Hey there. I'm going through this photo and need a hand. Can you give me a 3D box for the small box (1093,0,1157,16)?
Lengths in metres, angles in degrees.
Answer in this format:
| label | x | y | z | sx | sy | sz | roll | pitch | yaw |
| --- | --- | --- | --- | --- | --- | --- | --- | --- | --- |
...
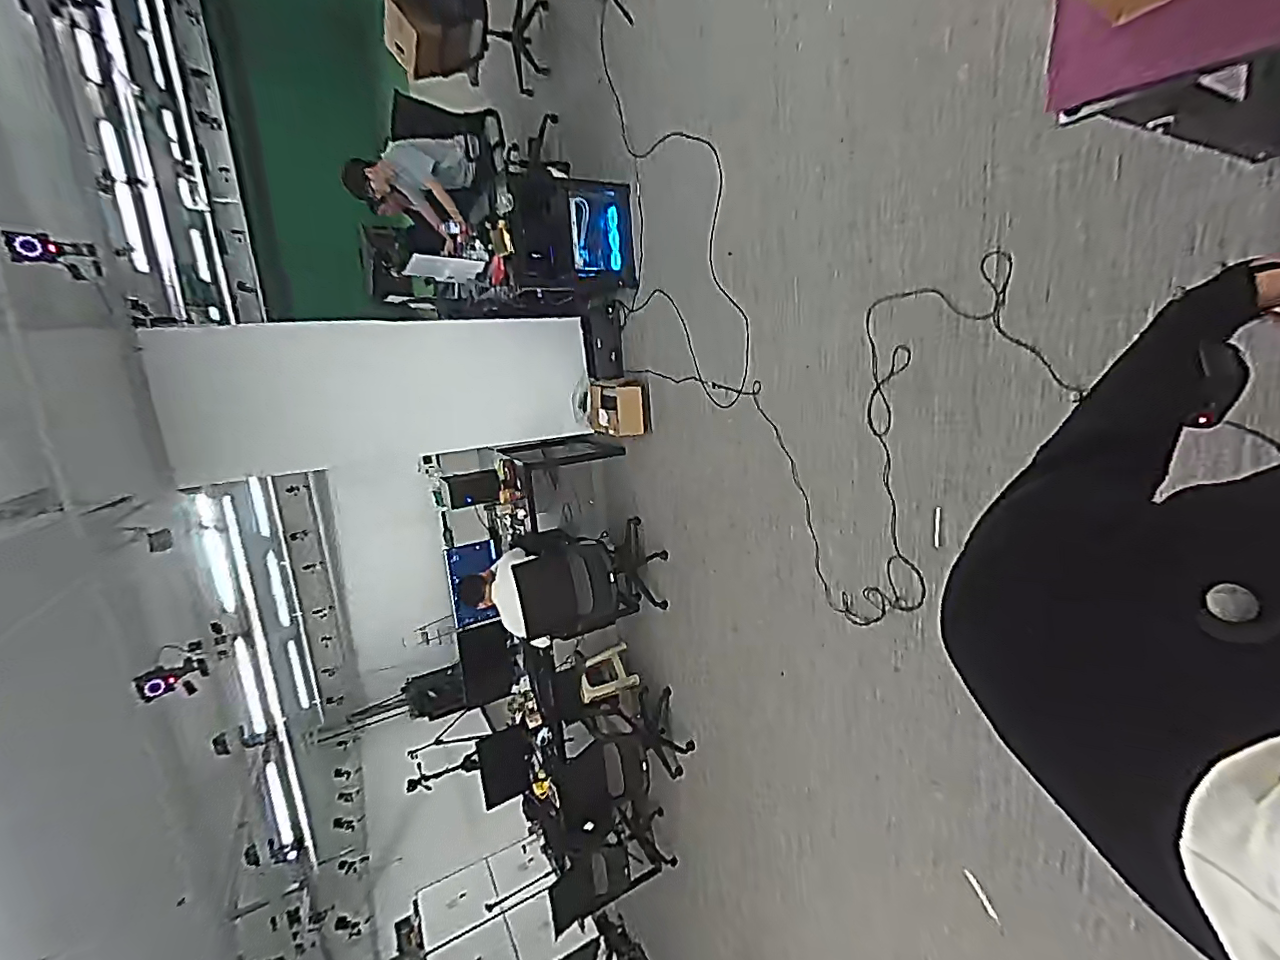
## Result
| label | x | y | z | sx | sy | sz | roll | pitch | yaw |
| --- | --- | --- | --- | --- | --- | --- | --- | --- | --- |
| small box | 0.554 | -0.635 | 0.553 | 0.168 | 0.176 | 0.179 | 8 | 108 | 59 |
